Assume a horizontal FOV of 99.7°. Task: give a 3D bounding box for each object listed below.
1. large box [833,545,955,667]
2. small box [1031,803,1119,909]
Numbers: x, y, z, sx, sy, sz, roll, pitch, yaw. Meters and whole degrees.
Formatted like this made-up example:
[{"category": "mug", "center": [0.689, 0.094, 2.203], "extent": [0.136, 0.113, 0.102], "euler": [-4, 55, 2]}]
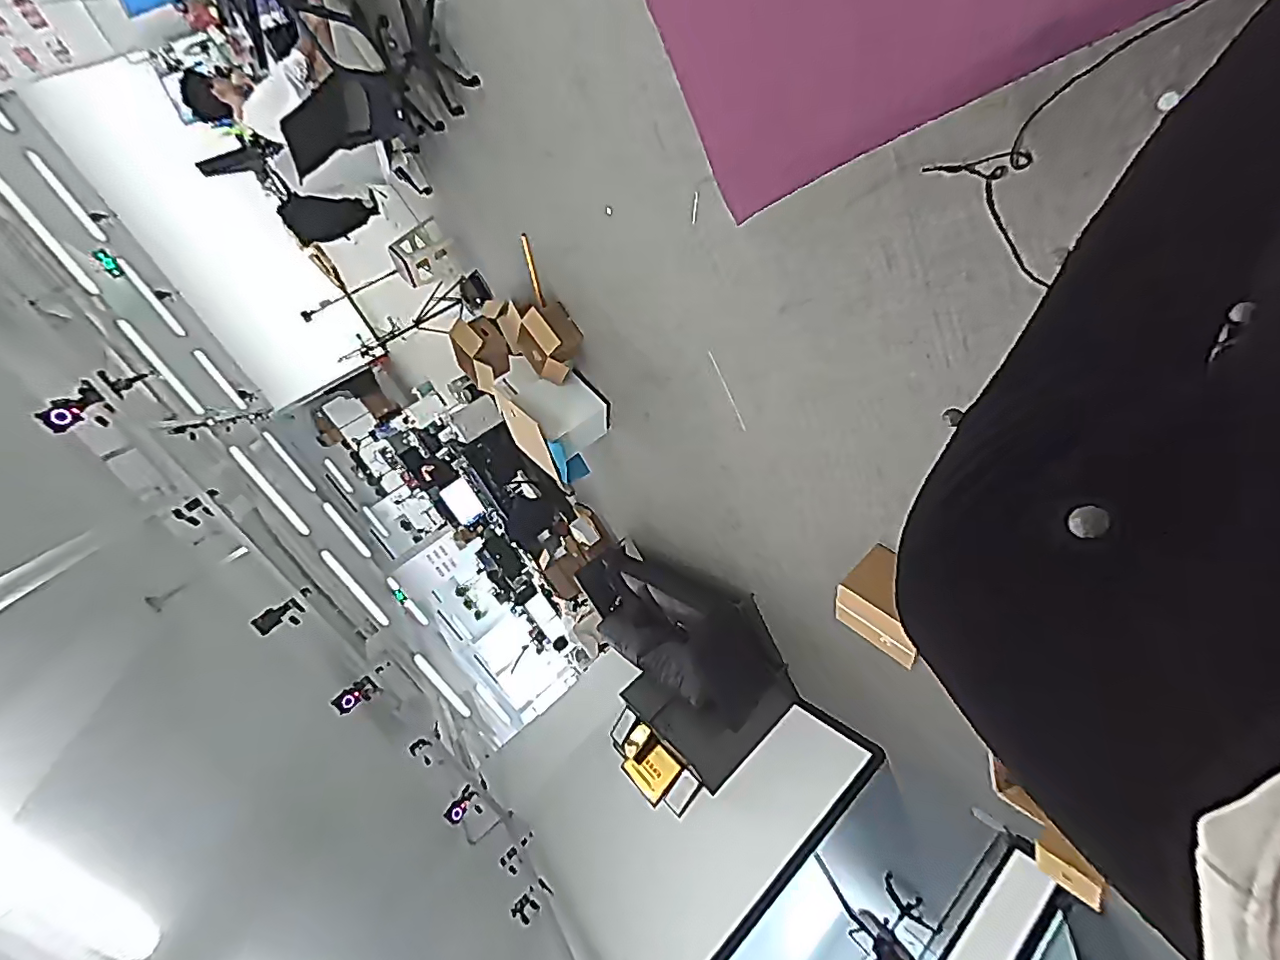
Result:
[{"category": "large box", "center": [1.173, 0.580, 2.532], "extent": [0.408, 0.320, 0.320], "euler": [34, 153, 38]}, {"category": "small box", "center": [1.336, 1.150, 1.663], "extent": [0.168, 0.176, 0.179], "euler": [22, 143, 52]}]
